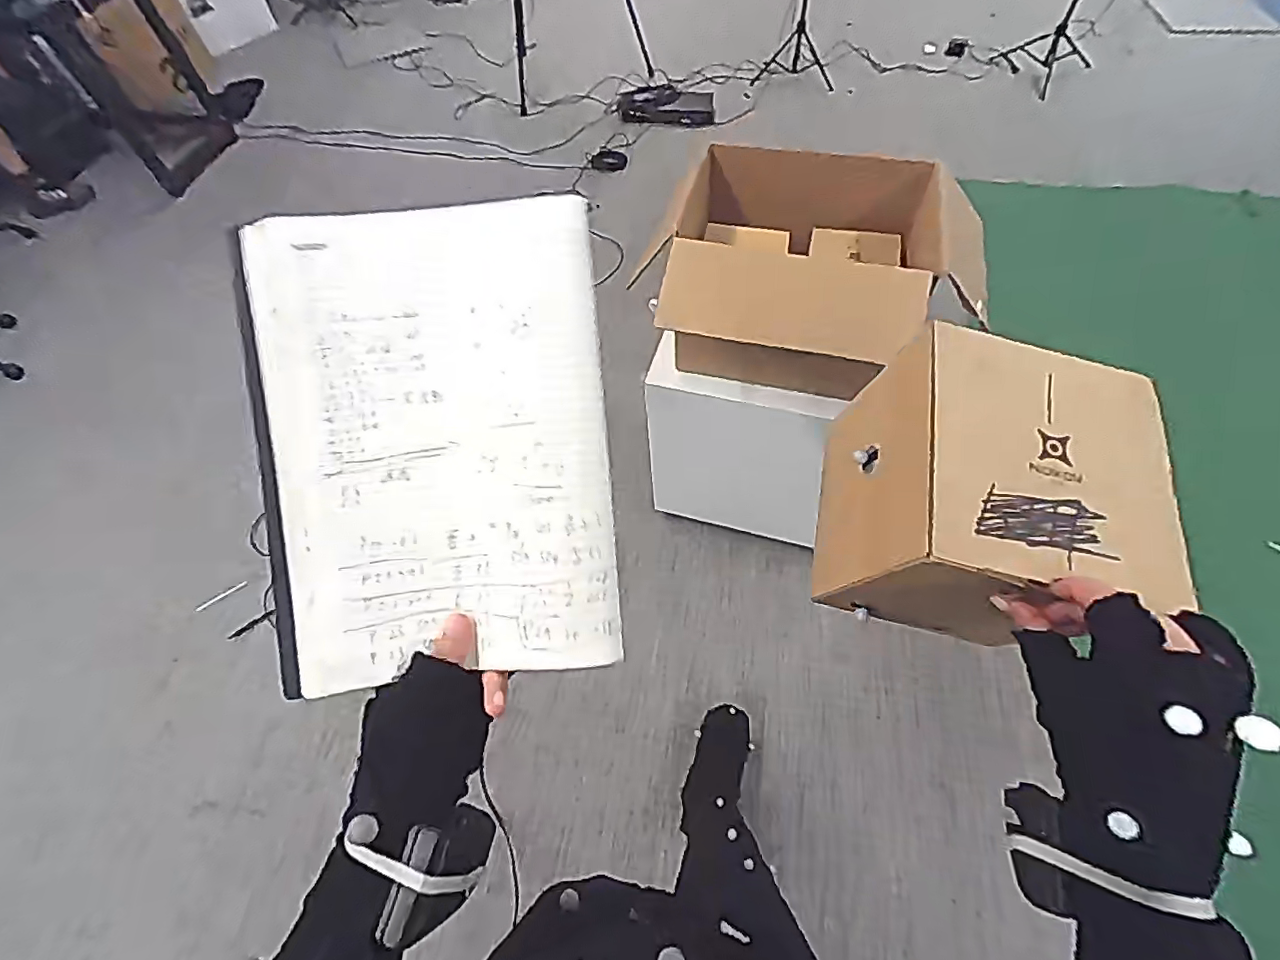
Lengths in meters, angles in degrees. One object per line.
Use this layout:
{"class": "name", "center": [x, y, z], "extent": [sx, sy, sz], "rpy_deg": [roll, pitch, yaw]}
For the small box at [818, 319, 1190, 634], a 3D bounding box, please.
{"class": "small box", "center": [0.254, 0.013, 0.424], "extent": [0.168, 0.176, 0.179], "rpy_deg": [14, 66, -3]}
